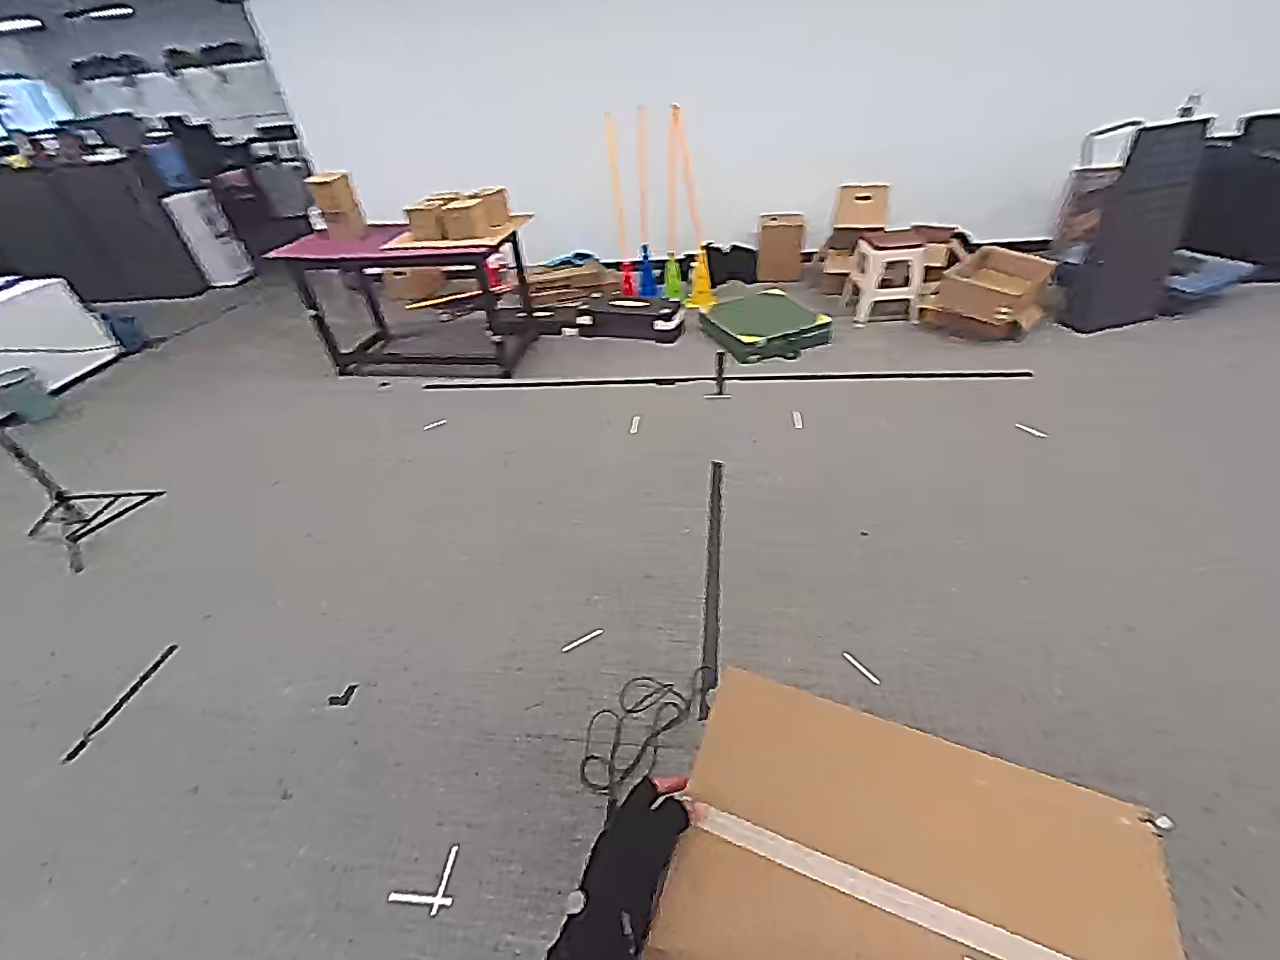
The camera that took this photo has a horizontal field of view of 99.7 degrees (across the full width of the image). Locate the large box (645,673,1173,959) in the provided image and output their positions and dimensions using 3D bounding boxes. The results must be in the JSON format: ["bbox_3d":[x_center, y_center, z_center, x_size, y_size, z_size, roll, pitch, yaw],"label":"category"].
[{"bbox_3d":[0.237,0.473,0.575,0.408,0.320,0.320,14,47,18],"label":"large box"}]
